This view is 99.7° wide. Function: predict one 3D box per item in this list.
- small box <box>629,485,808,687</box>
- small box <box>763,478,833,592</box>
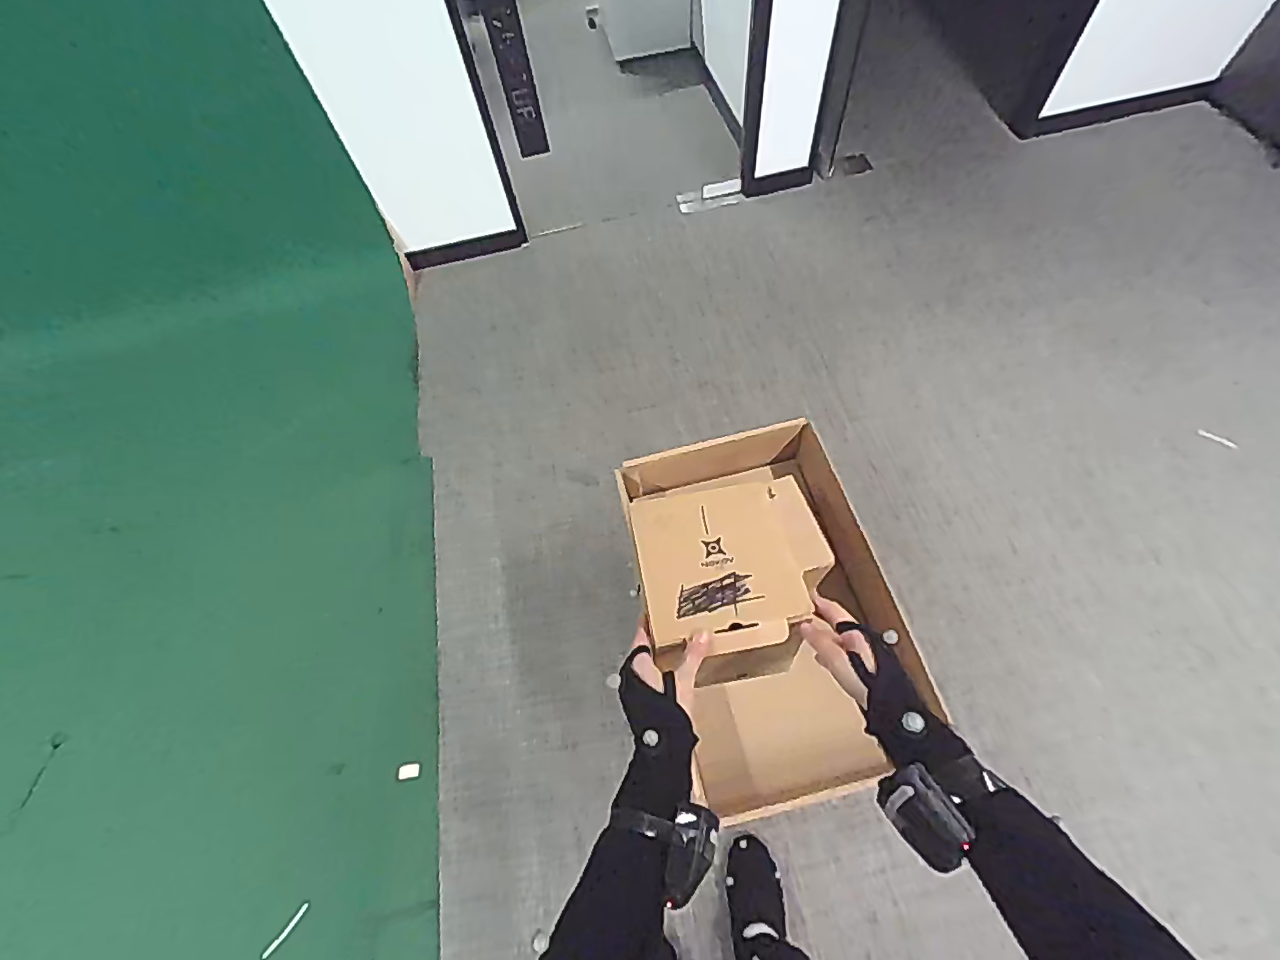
[{"bbox_3d":[0.082,0.133,0.643,0.168,0.176,0.179,-8,51,-3],"label":"small box"},{"bbox_3d":[0.227,0.125,0.997,0.168,0.176,0.179,-16,64,-5],"label":"small box"}]
